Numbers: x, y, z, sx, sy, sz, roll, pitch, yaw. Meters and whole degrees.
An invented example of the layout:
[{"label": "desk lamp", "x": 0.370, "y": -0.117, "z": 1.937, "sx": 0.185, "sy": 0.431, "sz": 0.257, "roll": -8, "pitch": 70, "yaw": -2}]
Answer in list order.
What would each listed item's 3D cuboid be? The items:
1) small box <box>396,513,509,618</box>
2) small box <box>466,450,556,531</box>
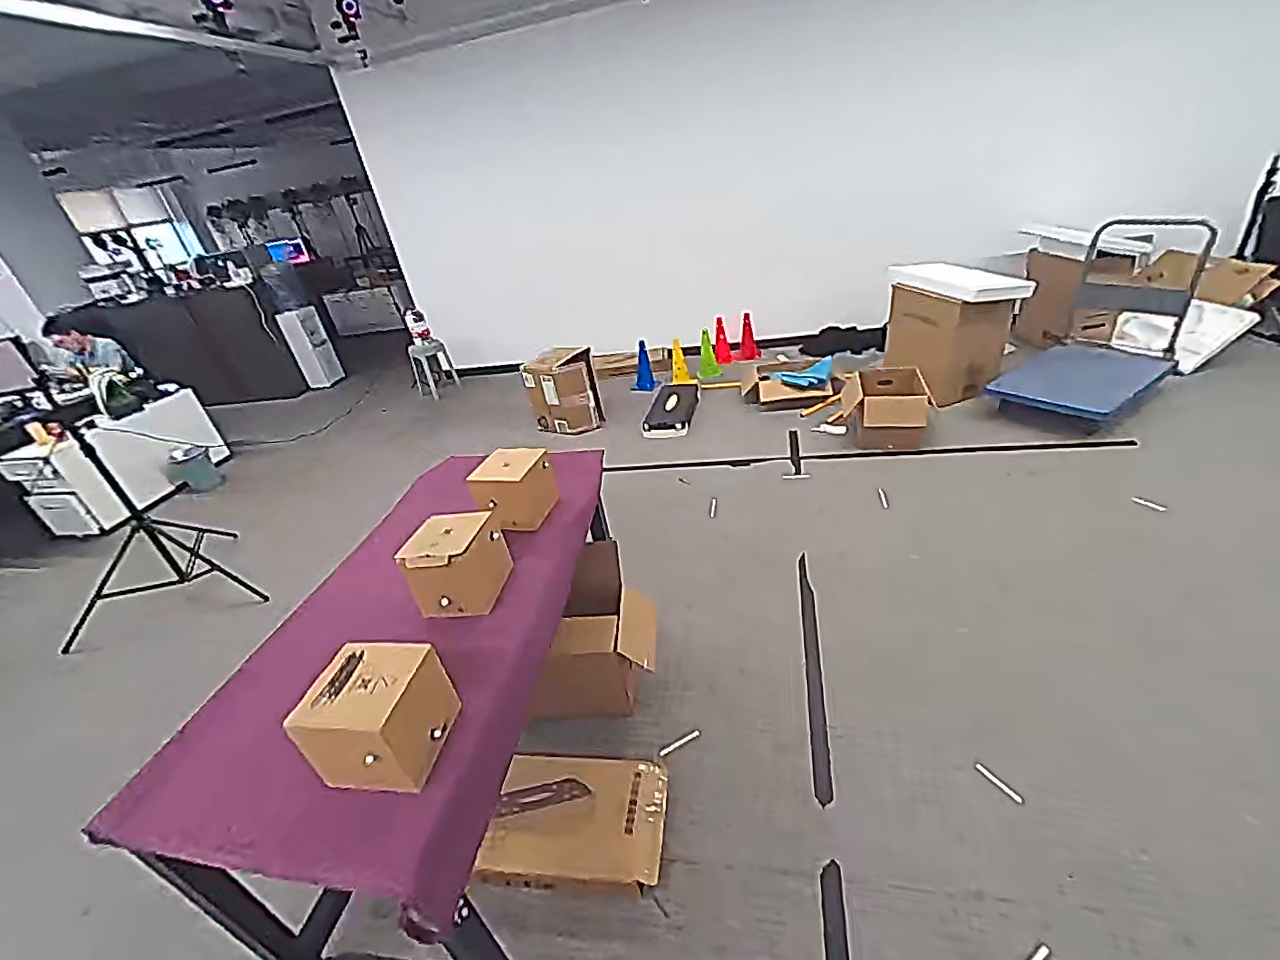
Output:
[{"label": "small box", "x": -0.420, "y": 0.197, "z": 1.252, "sx": 0.168, "sy": 0.176, "sz": 0.179, "roll": -6, "pitch": 30, "yaw": 13}, {"label": "small box", "x": -0.351, "y": 0.030, "z": 1.515, "sx": 0.168, "sy": 0.176, "sz": 0.179, "roll": 0, "pitch": 32, "yaw": 18}]
